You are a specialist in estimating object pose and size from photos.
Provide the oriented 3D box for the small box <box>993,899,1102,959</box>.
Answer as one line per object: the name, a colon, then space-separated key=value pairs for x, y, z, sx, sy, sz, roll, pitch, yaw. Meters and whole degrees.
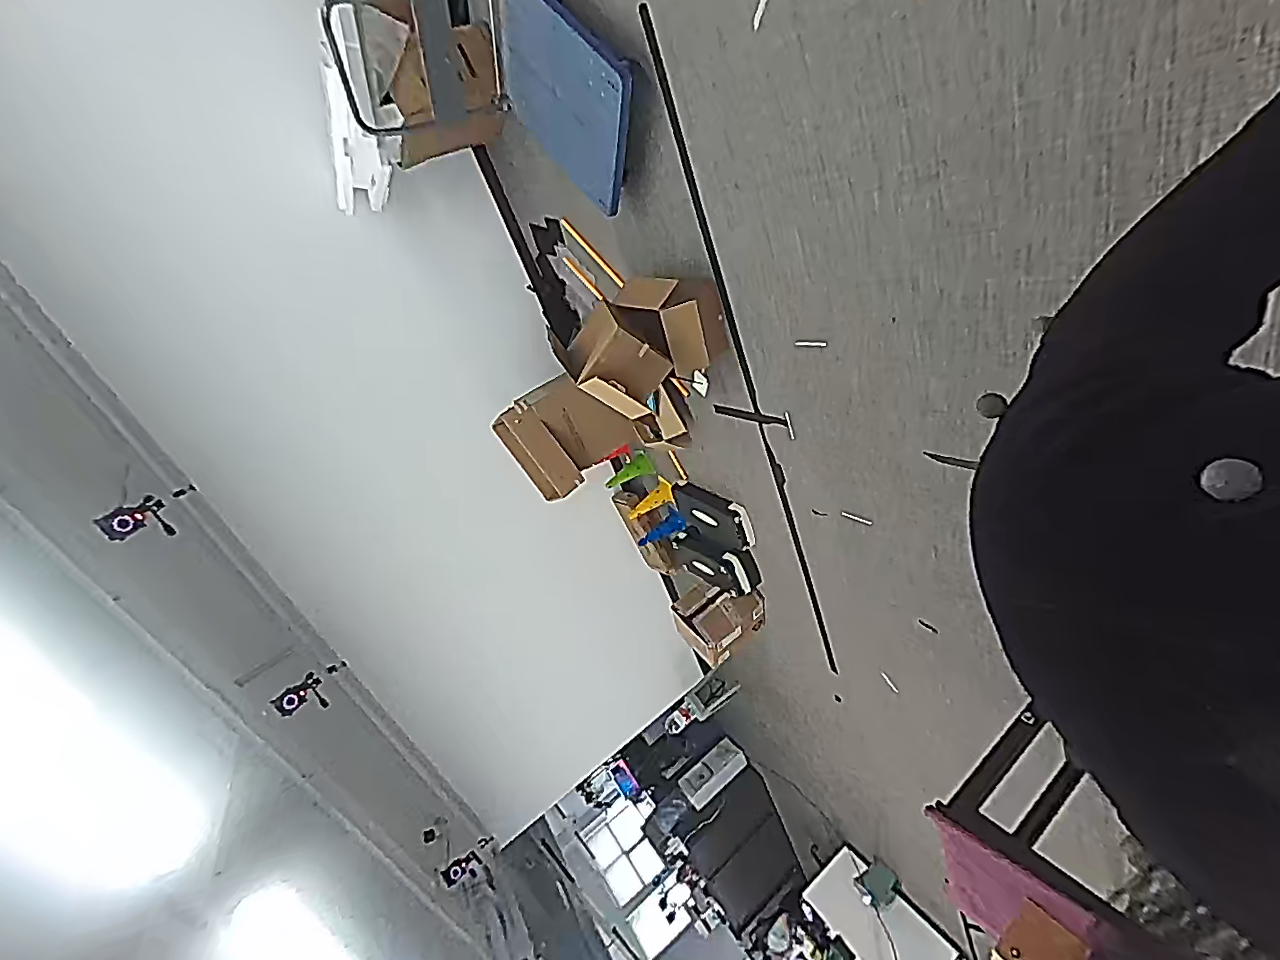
small box: x=1.007 y=1.200 z=1.332 sx=0.179 sy=0.176 sz=0.168 roll=28 pitch=147 yaw=54
